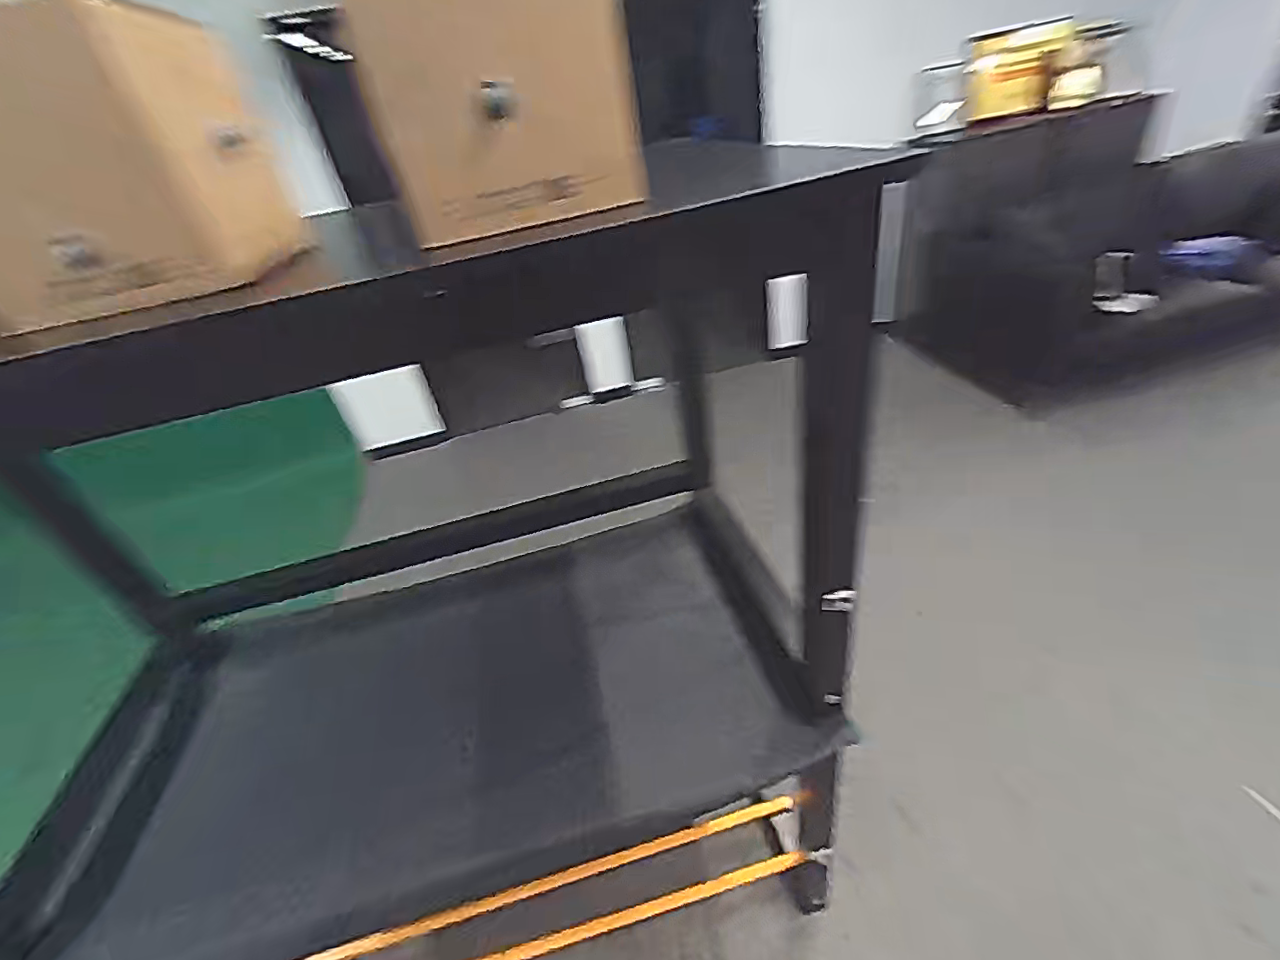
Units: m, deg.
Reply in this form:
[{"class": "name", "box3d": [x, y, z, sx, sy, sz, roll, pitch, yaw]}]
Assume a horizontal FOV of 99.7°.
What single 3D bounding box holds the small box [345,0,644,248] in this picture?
[{"class": "small box", "box3d": [-0.100, -0.295, 0.429, 0.168, 0.176, 0.179, -14, 34, -5]}]
